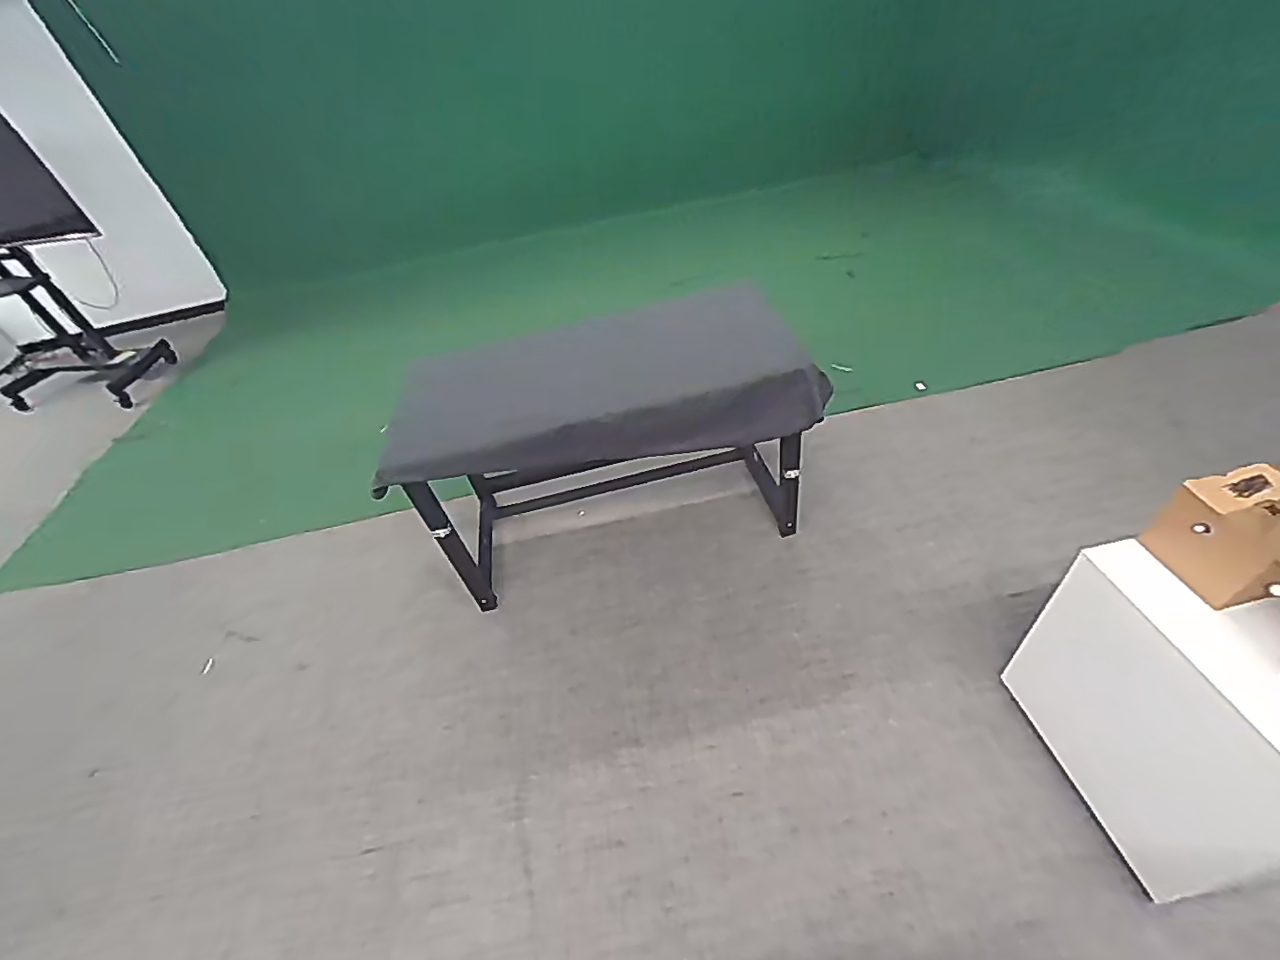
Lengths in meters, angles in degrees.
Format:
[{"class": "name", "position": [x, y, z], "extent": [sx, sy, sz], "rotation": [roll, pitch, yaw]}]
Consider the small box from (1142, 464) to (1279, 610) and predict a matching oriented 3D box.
[{"class": "small box", "position": [1.078, 0.103, 0.971], "extent": [0.168, 0.176, 0.179], "rotation": [-14, 45, -2]}]
